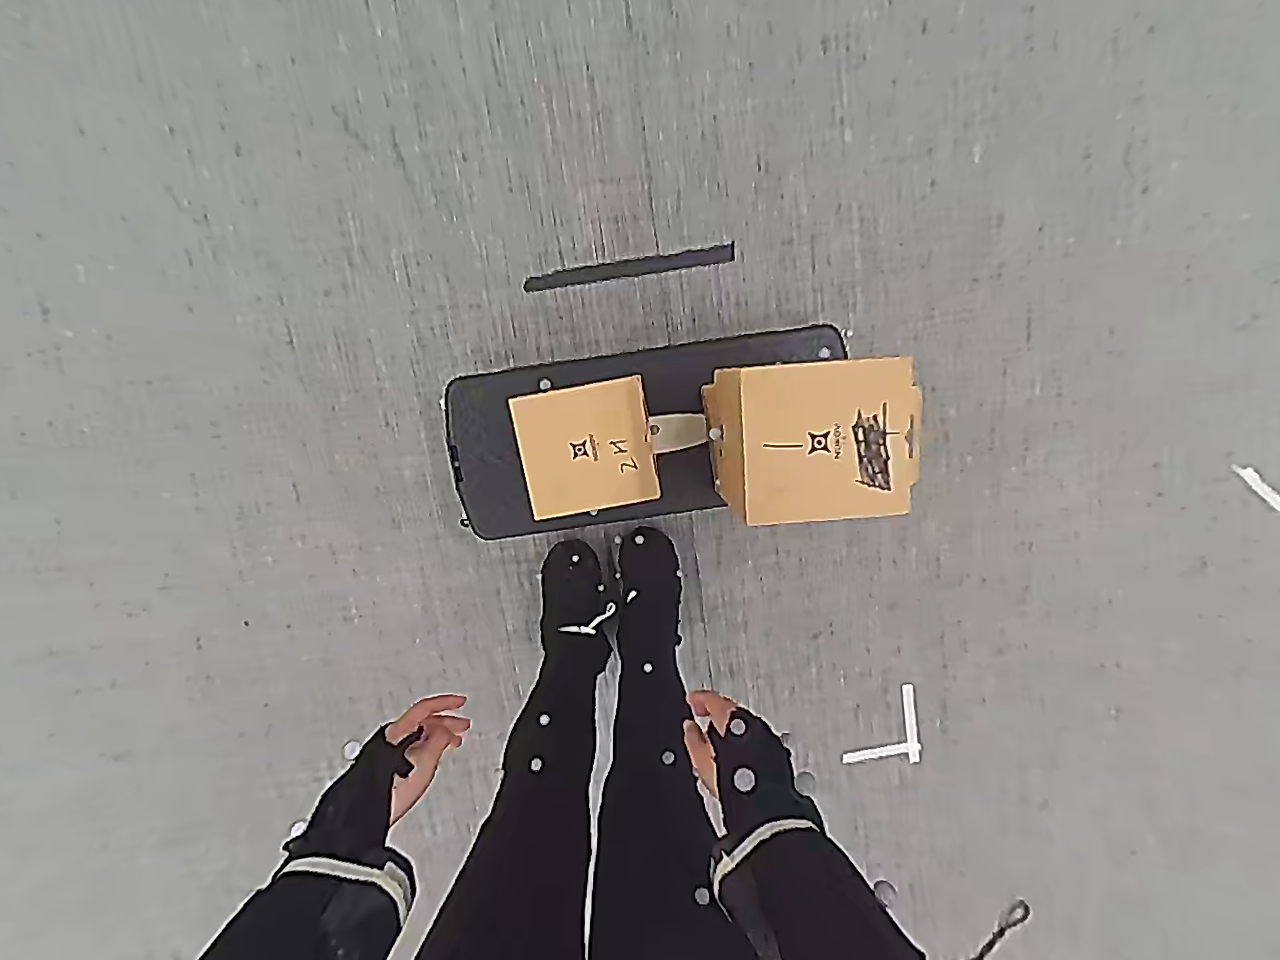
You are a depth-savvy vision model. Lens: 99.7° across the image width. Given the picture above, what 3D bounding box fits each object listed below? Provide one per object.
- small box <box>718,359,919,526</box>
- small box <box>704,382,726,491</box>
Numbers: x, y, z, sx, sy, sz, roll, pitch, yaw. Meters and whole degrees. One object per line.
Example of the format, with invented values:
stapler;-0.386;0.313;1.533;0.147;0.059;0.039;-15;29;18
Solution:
small box;0.193;-0.052;0.628;0.179;0.176;0.168;-4;100;0
small box;0.195;-0.067;0.793;0.168;0.176;0.179;-10;101;0
